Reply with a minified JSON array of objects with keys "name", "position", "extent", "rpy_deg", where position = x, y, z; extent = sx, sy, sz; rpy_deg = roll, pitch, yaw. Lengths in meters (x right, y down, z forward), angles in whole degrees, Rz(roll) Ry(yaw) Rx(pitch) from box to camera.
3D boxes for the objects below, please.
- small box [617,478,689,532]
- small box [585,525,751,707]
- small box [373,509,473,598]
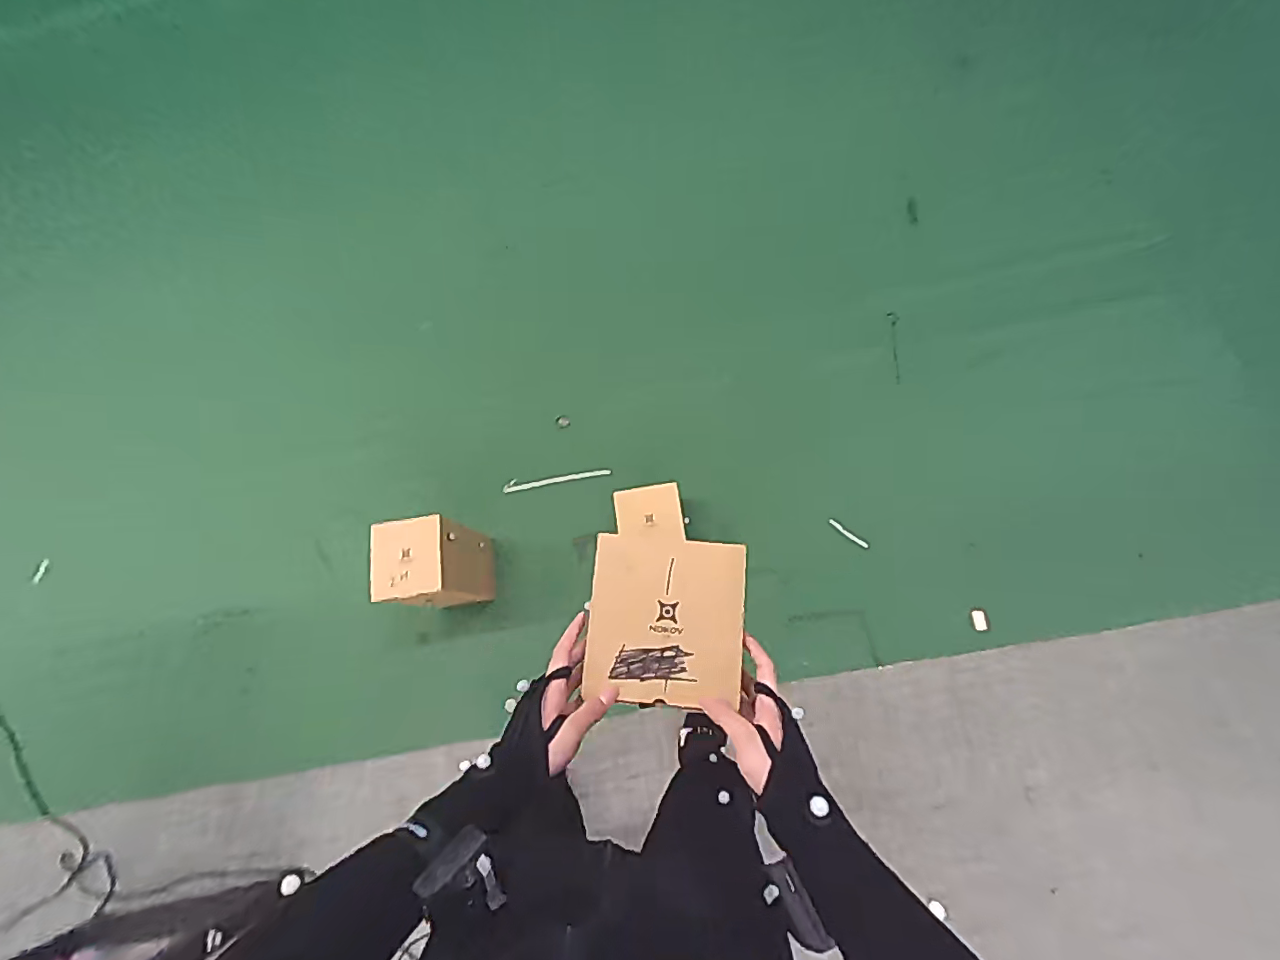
[{"name":"small box","position":[0.037,0.108,1.419],"extent":[0.168,0.176,0.179],"rpy_deg":[-9,75,3]},{"name":"small box","position":[0.034,0.159,0.647],"extent":[0.168,0.176,0.179],"rpy_deg":[5,75,2]},{"name":"small box","position":[-0.507,0.180,1.283],"extent":[0.168,0.176,0.179],"rpy_deg":[-9,75,4]}]
